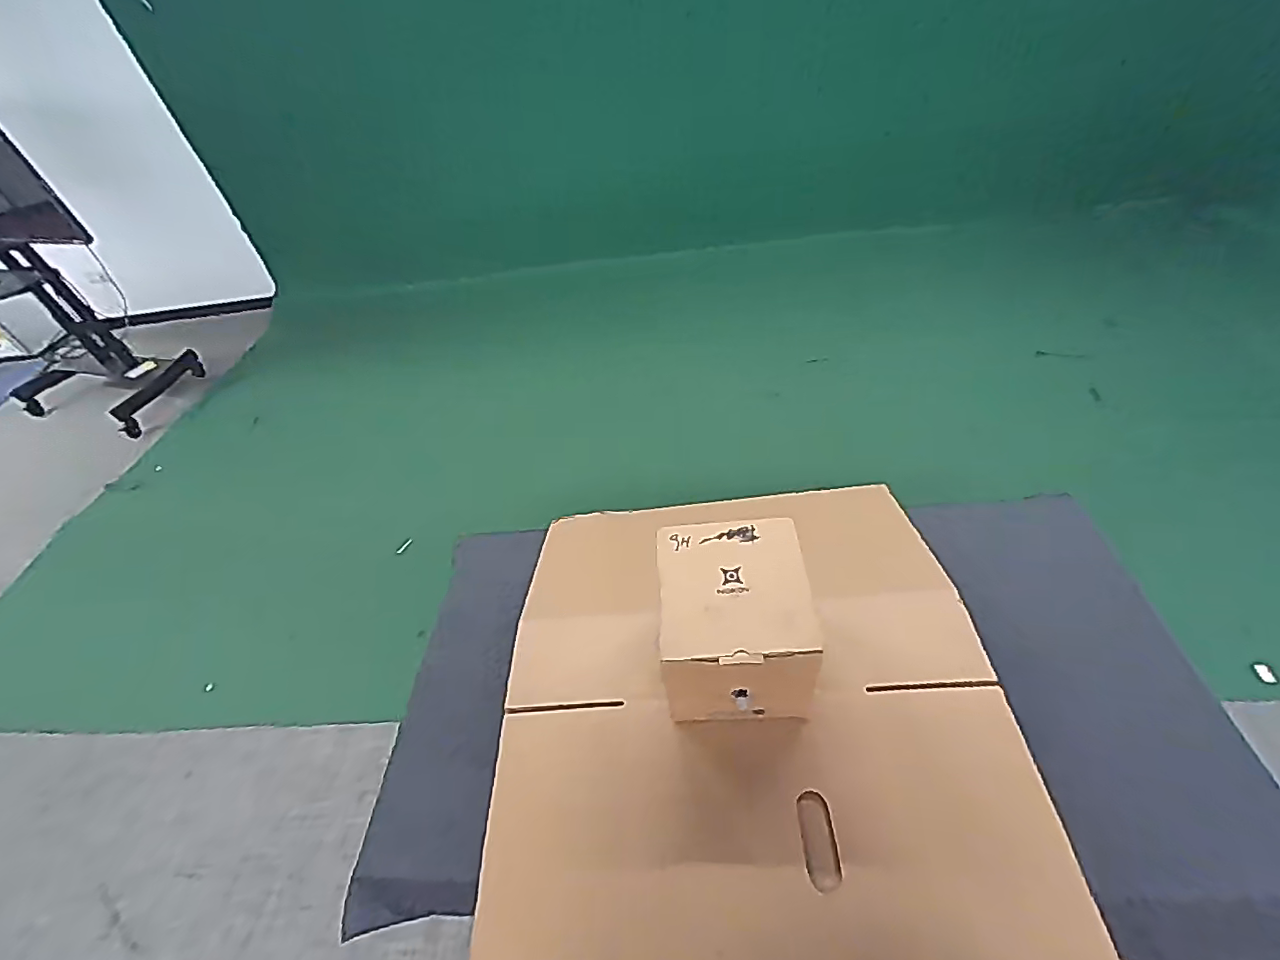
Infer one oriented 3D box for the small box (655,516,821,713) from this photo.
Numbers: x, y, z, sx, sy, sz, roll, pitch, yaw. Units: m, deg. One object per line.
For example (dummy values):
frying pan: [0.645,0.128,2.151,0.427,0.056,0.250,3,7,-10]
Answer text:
small box: [0.112,0.170,0.658,0.168,0.176,0.179,-7,46,4]
